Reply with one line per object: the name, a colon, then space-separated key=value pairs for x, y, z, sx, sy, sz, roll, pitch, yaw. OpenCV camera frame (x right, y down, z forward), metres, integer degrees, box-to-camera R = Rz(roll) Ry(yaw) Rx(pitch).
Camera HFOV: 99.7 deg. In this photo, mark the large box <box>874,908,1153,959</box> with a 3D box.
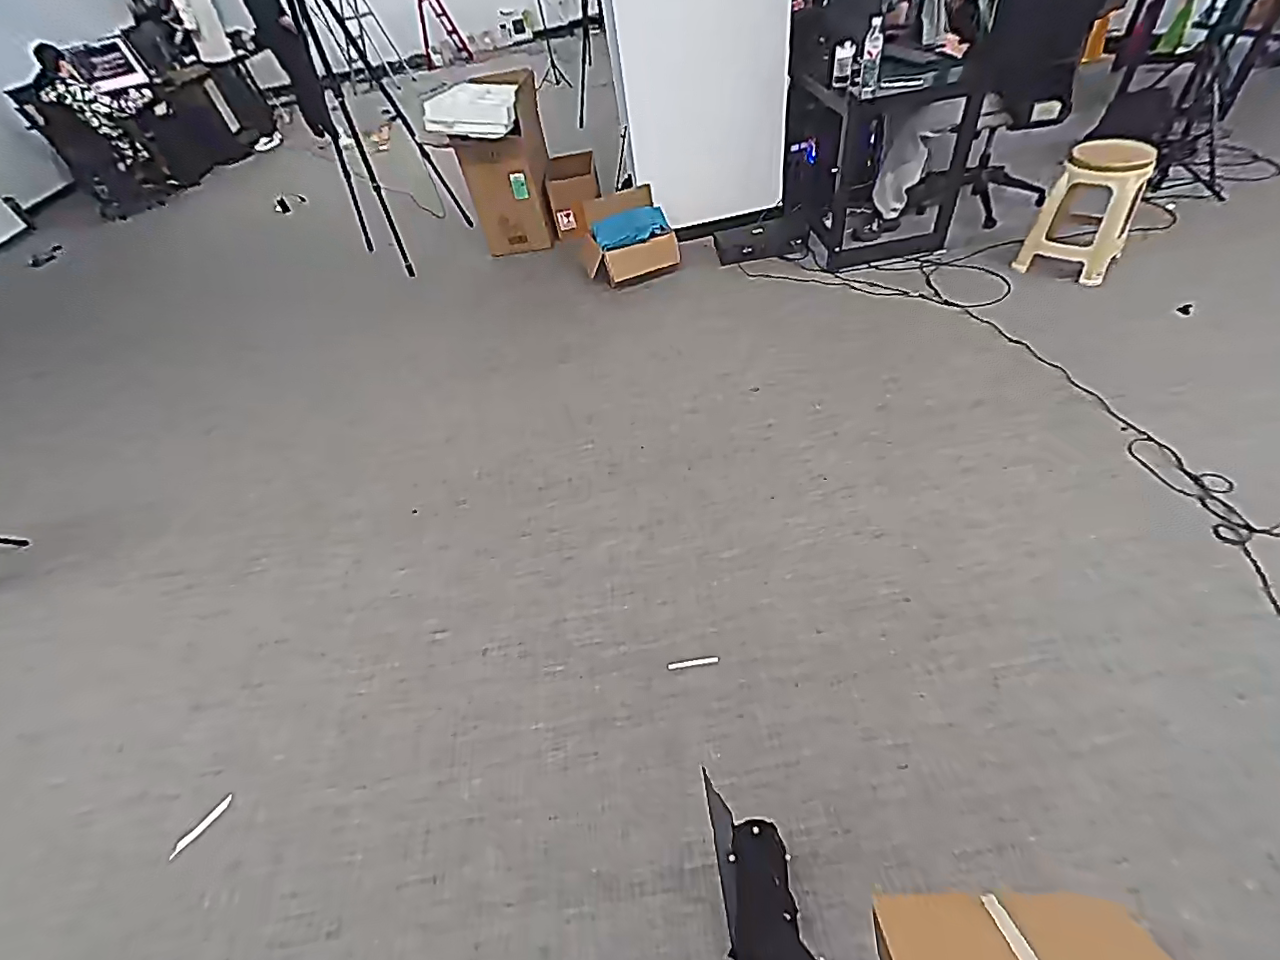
large box: x=0.466 y=0.736 z=0.545 sx=0.320 sy=0.408 sz=0.320 roll=-7 pitch=86 yaw=9
